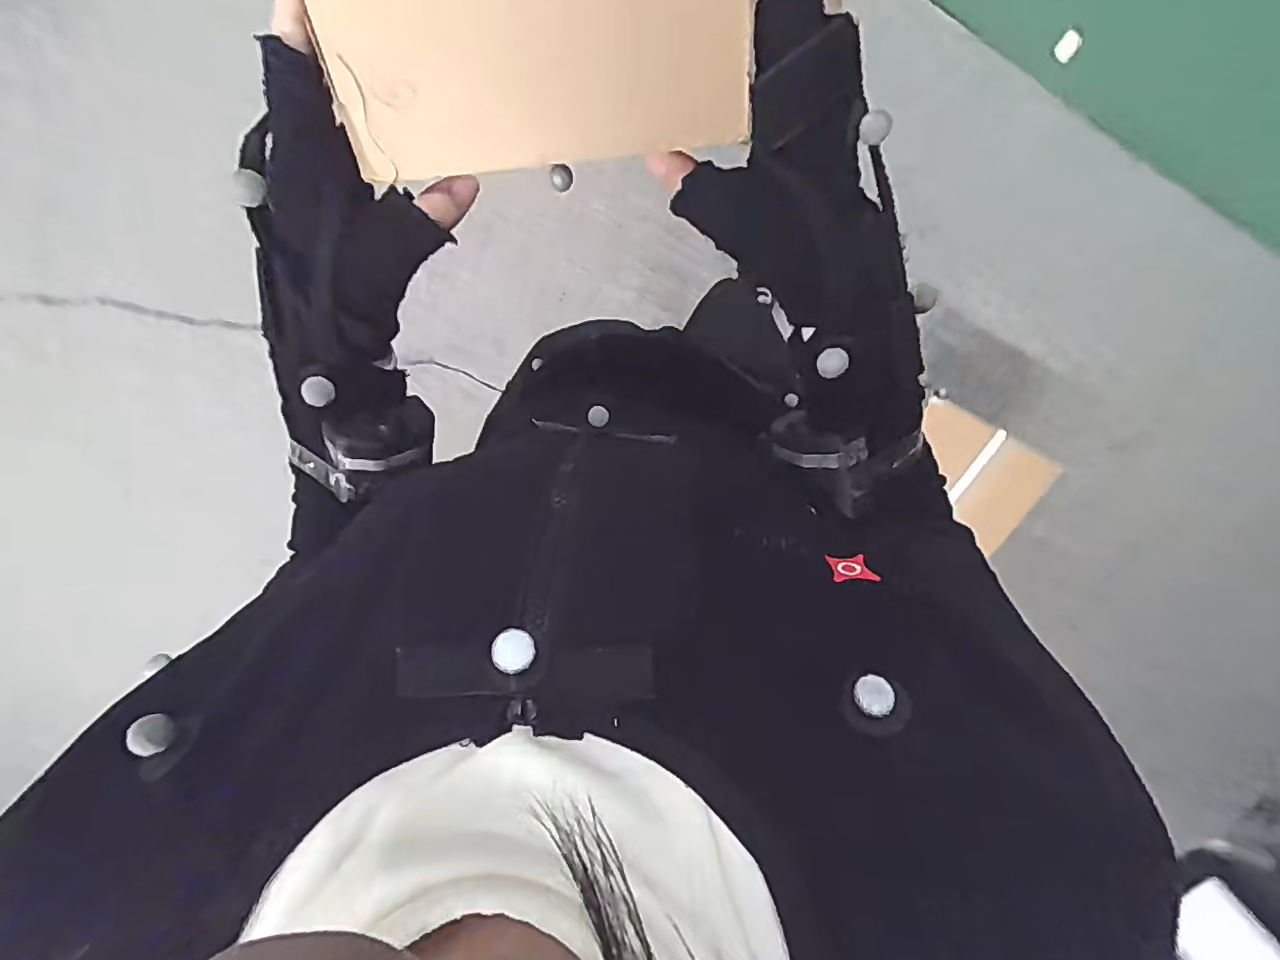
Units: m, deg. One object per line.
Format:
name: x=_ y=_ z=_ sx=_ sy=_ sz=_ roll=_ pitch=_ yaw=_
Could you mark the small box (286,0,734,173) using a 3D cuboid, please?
small box: x=-0.050 y=-0.256 z=0.252 sx=0.179 sy=0.176 sz=0.168 roll=-4 pitch=127 yaw=8
